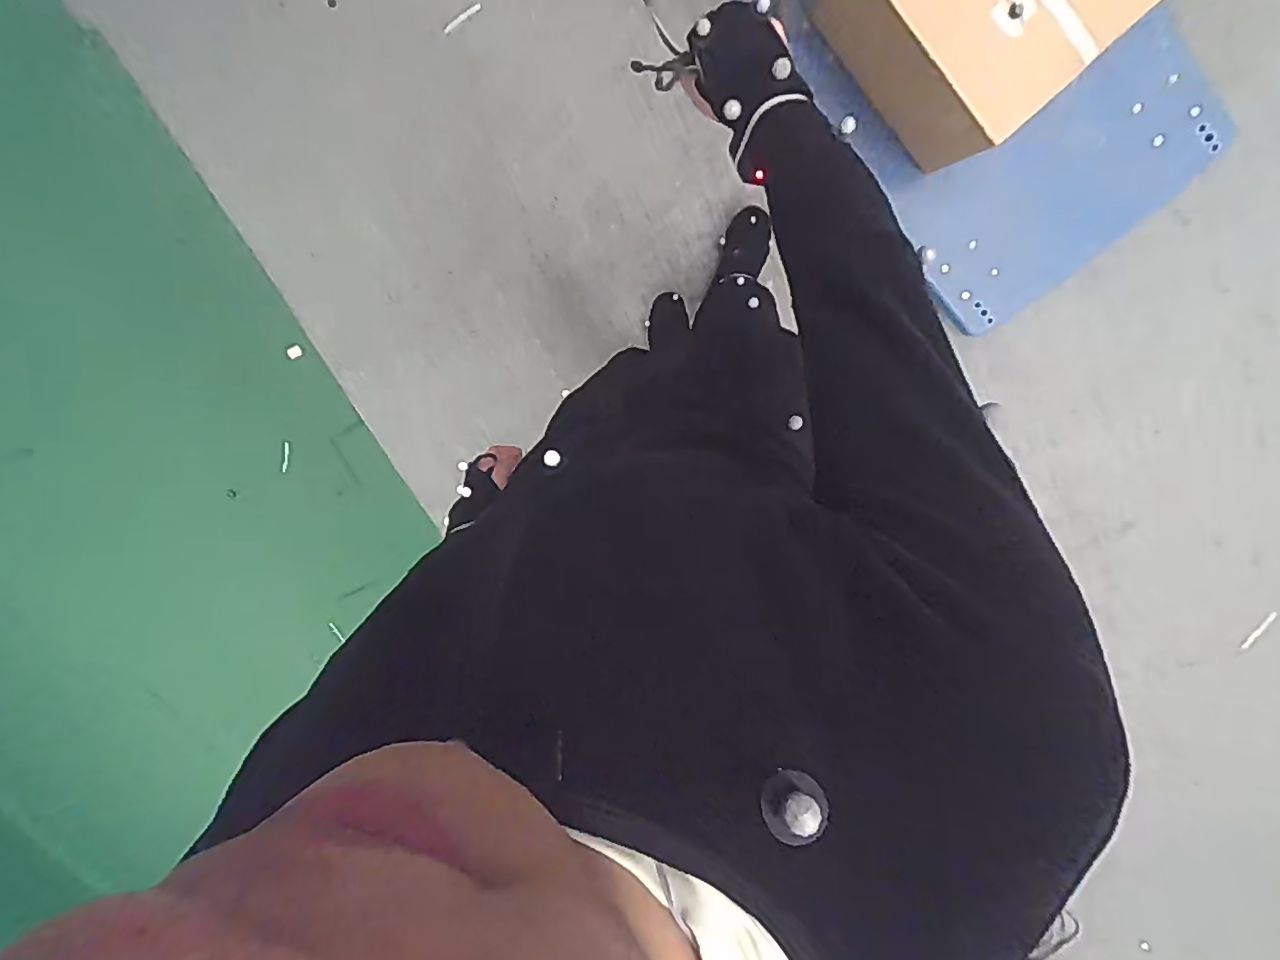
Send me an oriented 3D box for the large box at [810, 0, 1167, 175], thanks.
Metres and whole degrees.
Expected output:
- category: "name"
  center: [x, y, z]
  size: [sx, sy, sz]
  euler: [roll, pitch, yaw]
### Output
- category: "large box"
  center: [0.562, -0.817, 0.924]
  size: [0.408, 0.320, 0.320]
  euler: [44, 111, -11]
